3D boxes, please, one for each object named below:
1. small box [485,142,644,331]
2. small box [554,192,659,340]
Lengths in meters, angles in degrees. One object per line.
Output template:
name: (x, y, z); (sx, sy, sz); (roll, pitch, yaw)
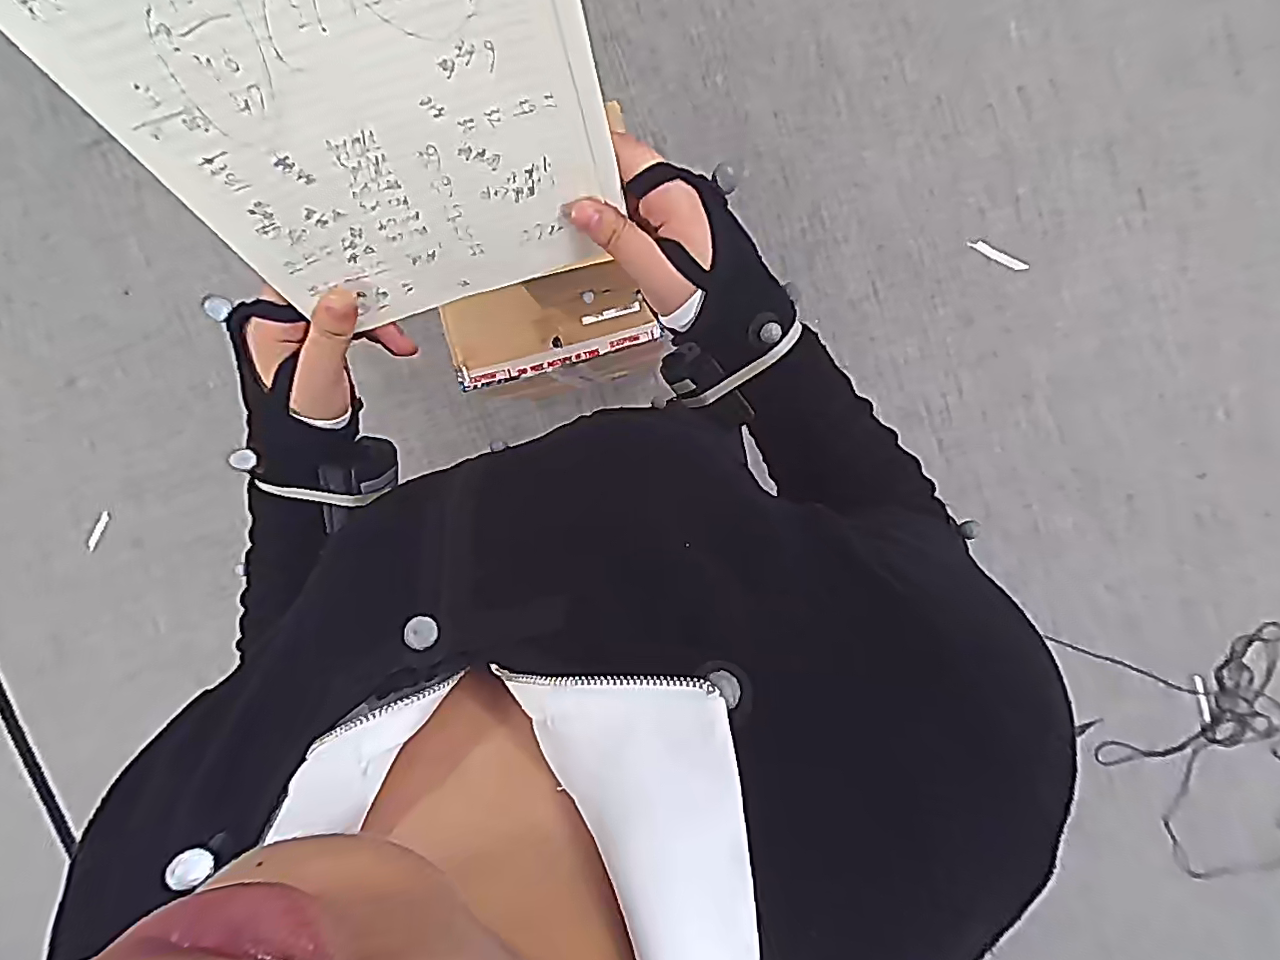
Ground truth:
small box: (-0.093, -0.316, 0.736); (0.168, 0.176, 0.179); (-12, 98, 1)
small box: (-0.075, -0.342, 0.899); (0.179, 0.176, 0.168); (-16, 96, 2)
